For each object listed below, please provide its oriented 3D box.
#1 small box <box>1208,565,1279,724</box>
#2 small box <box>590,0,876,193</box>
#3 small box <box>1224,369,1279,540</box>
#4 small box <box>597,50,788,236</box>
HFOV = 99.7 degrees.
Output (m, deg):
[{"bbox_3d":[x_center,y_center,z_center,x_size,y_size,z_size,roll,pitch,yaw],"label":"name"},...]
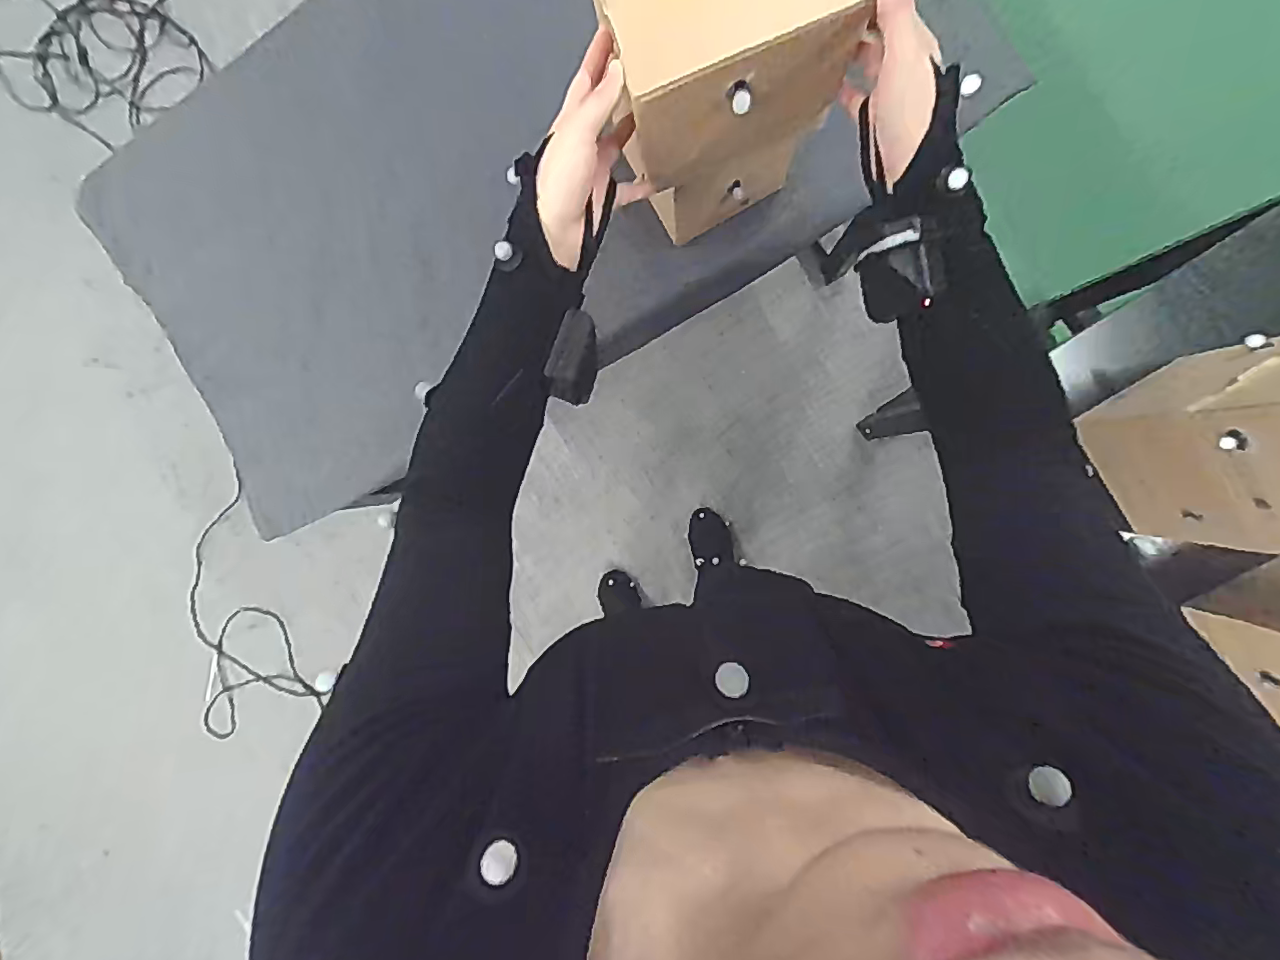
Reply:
[{"bbox_3d":[0.813,0.195,0.607,0.179,0.176,0.168,-29,89,5],"label":"small box"},{"bbox_3d":[0.058,-0.367,0.432,0.179,0.176,0.168,-17,95,10],"label":"small box"},{"bbox_3d":[0.664,-0.037,0.451,0.179,0.176,0.168,-30,90,4],"label":"small box"},{"bbox_3d":[0.072,-0.429,0.659,0.168,0.176,0.179,-29,87,6],"label":"small box"}]
